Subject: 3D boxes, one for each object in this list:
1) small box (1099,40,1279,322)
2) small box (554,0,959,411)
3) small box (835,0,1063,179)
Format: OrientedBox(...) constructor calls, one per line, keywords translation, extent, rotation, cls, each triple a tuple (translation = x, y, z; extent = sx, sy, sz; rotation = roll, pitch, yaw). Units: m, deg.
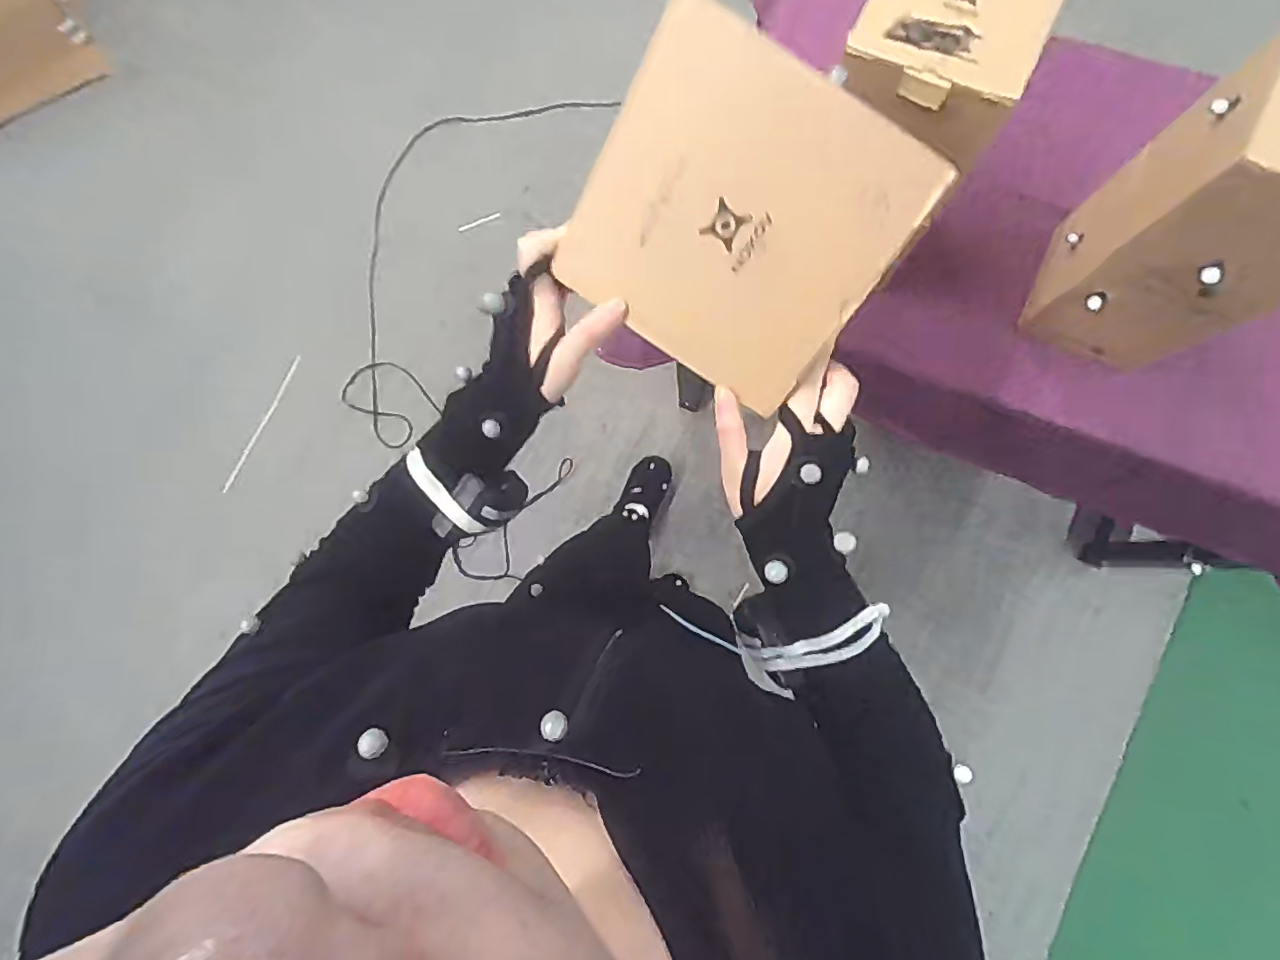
OrientedBox(translation=(0.628, -0.295, 0.547), extent=(0.168, 0.176, 0.179), rotation=(28, 85, 8), cls="small box")
OrientedBox(translation=(0.076, -0.183, 0.383), extent=(0.179, 0.176, 0.168), rotation=(35, 119, -3), cls="small box")
OrientedBox(translation=(0.309, -0.435, 0.588), extent=(0.168, 0.176, 0.179), rotation=(26, 84, 7), cls="small box")
